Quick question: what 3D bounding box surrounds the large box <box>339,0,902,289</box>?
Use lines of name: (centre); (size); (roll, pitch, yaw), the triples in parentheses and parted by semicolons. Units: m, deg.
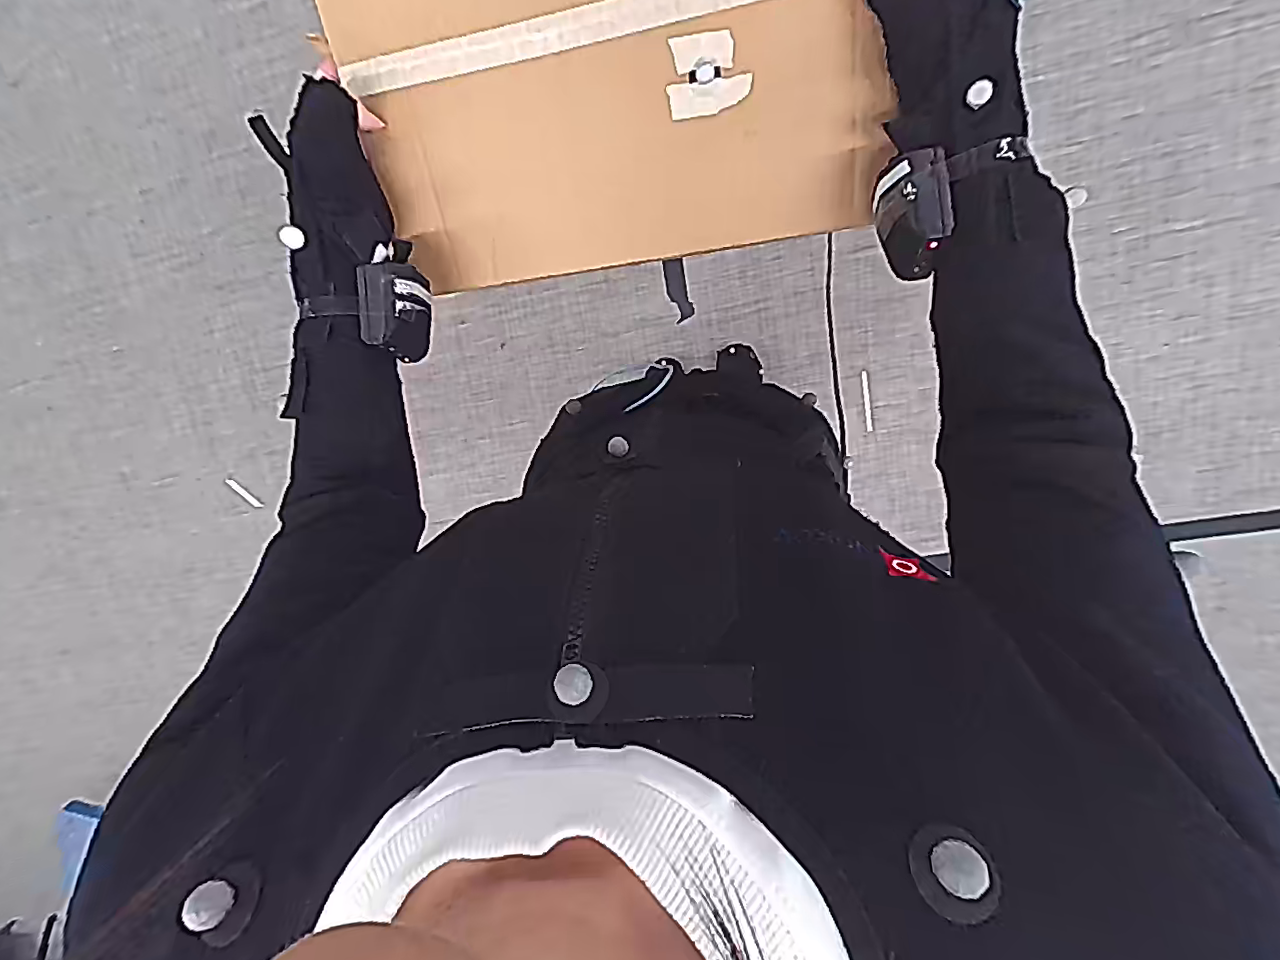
large box: (-0.007, -0.387, 0.524); (0.408, 0.320, 0.320); (-6, 113, 9)
